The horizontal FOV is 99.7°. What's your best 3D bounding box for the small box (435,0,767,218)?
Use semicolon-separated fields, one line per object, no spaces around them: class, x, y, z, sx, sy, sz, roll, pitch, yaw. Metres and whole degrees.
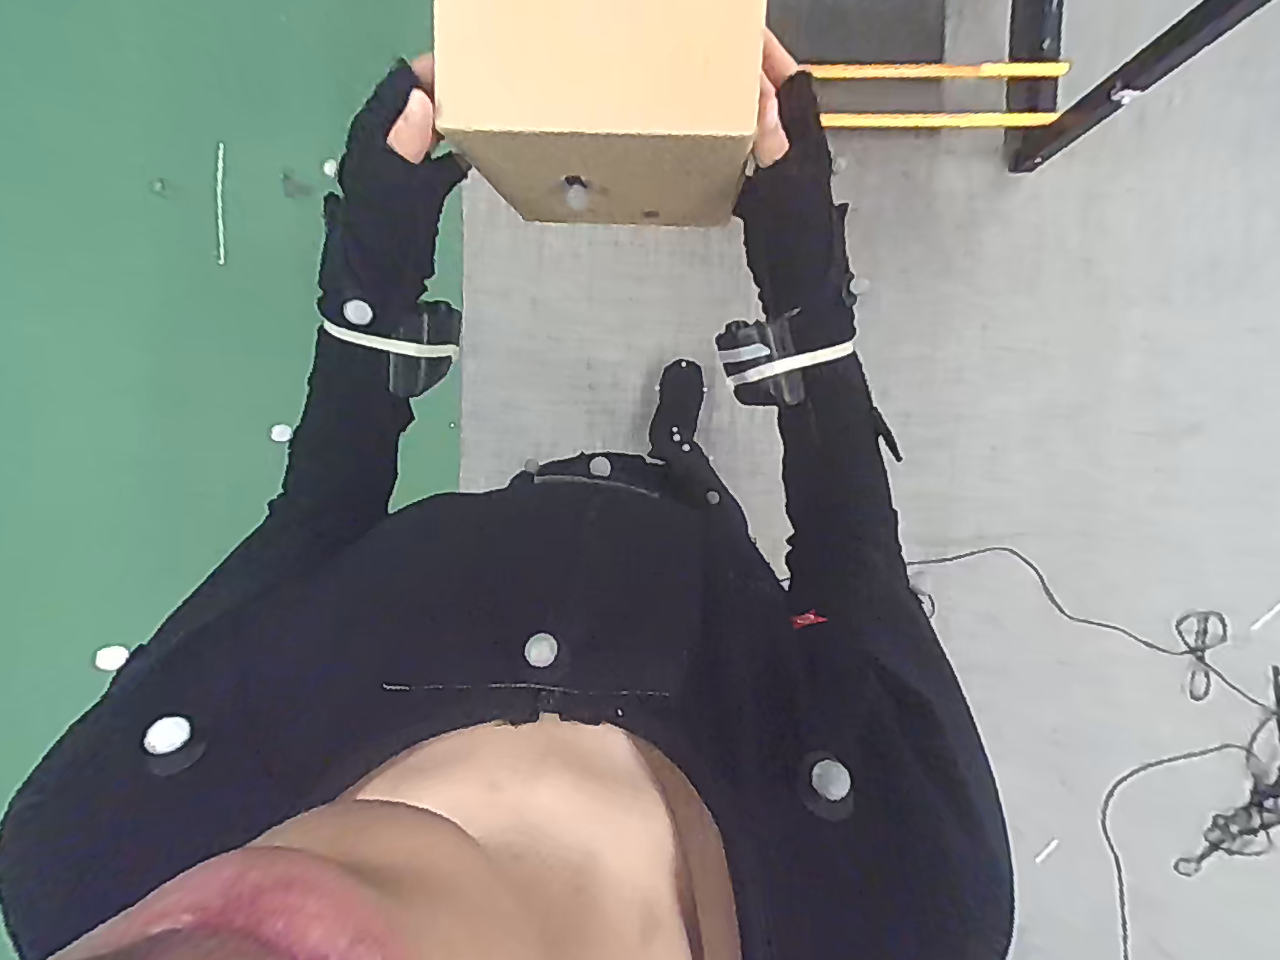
small box;-0.011;-0.276;0.334;0.168;0.176;0.179;3;100;4
